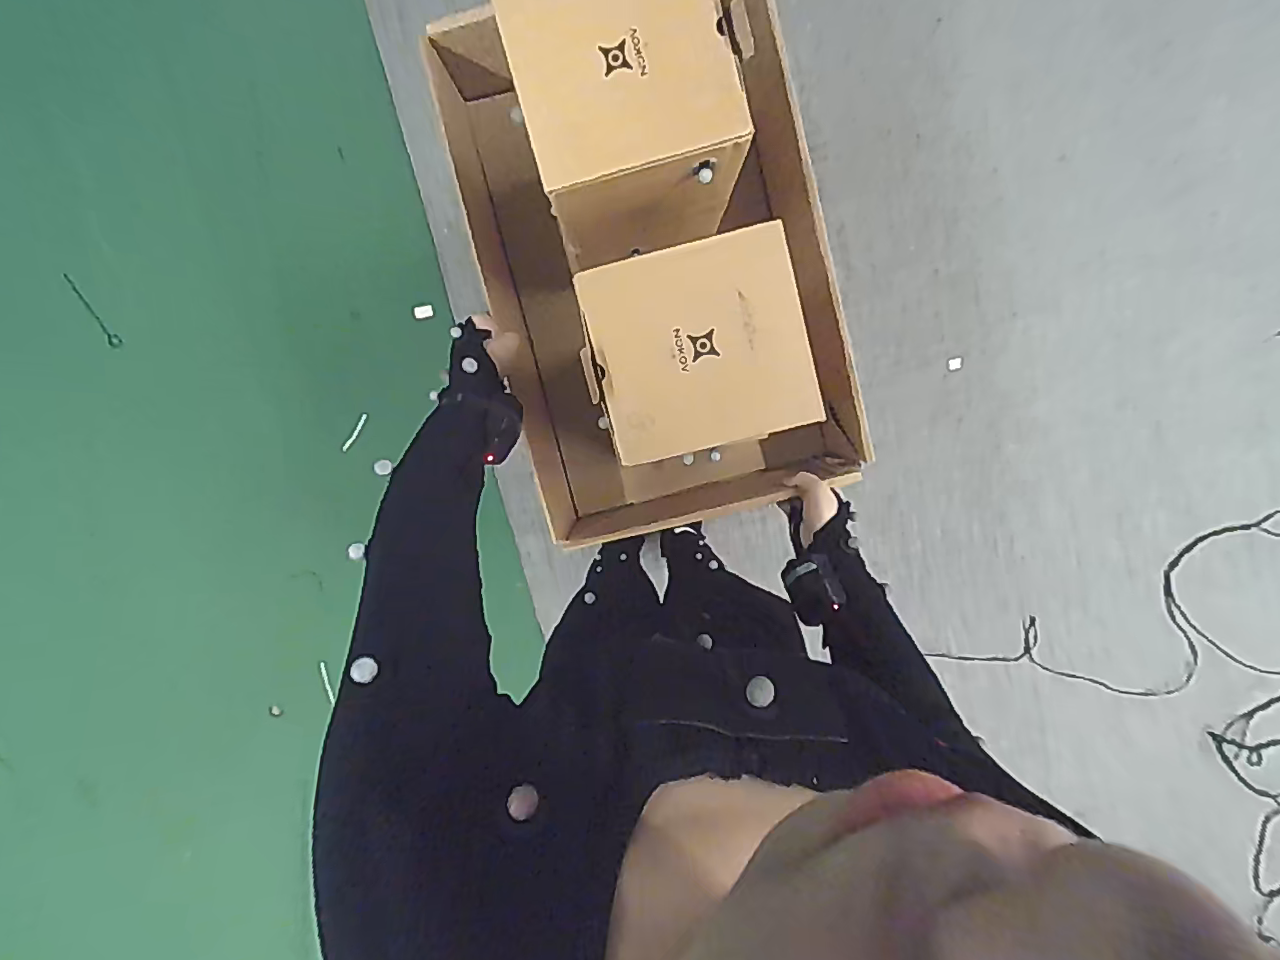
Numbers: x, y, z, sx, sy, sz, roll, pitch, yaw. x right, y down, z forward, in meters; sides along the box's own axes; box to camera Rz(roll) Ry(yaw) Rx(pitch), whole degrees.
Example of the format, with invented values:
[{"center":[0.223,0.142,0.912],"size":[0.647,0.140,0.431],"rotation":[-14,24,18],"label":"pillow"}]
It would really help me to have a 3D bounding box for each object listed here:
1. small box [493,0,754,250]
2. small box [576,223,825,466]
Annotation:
[{"center":[-0.011,-0.337,0.504],"size":[0.179,0.176,0.168],"rotation":[-16,96,2],"label":"small box"},{"center":[0.053,-0.114,0.521],"size":[0.179,0.176,0.168],"rotation":[-14,95,3],"label":"small box"}]
